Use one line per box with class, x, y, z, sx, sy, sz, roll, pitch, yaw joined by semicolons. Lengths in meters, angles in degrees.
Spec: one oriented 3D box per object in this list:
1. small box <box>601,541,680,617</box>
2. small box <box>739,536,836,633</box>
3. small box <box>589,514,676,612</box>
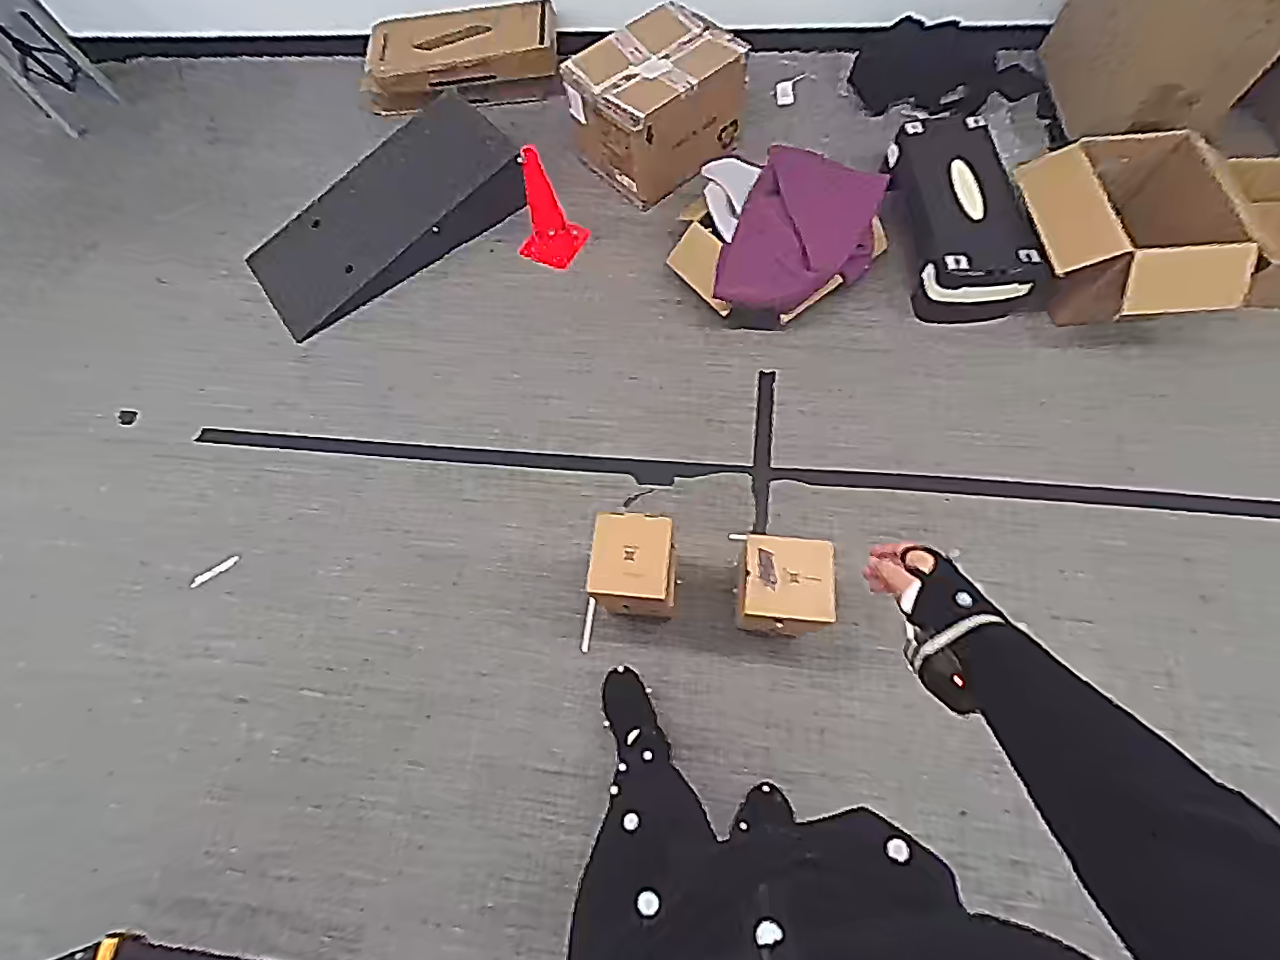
small box;0.007;0.245;1.351;0.179;0.176;0.168;3;68;6
small box;0.308;0.229;1.156;0.179;0.176;0.168;5;68;6
small box;-0.009;0.188;1.199;0.168;0.176;0.179;3;69;8
